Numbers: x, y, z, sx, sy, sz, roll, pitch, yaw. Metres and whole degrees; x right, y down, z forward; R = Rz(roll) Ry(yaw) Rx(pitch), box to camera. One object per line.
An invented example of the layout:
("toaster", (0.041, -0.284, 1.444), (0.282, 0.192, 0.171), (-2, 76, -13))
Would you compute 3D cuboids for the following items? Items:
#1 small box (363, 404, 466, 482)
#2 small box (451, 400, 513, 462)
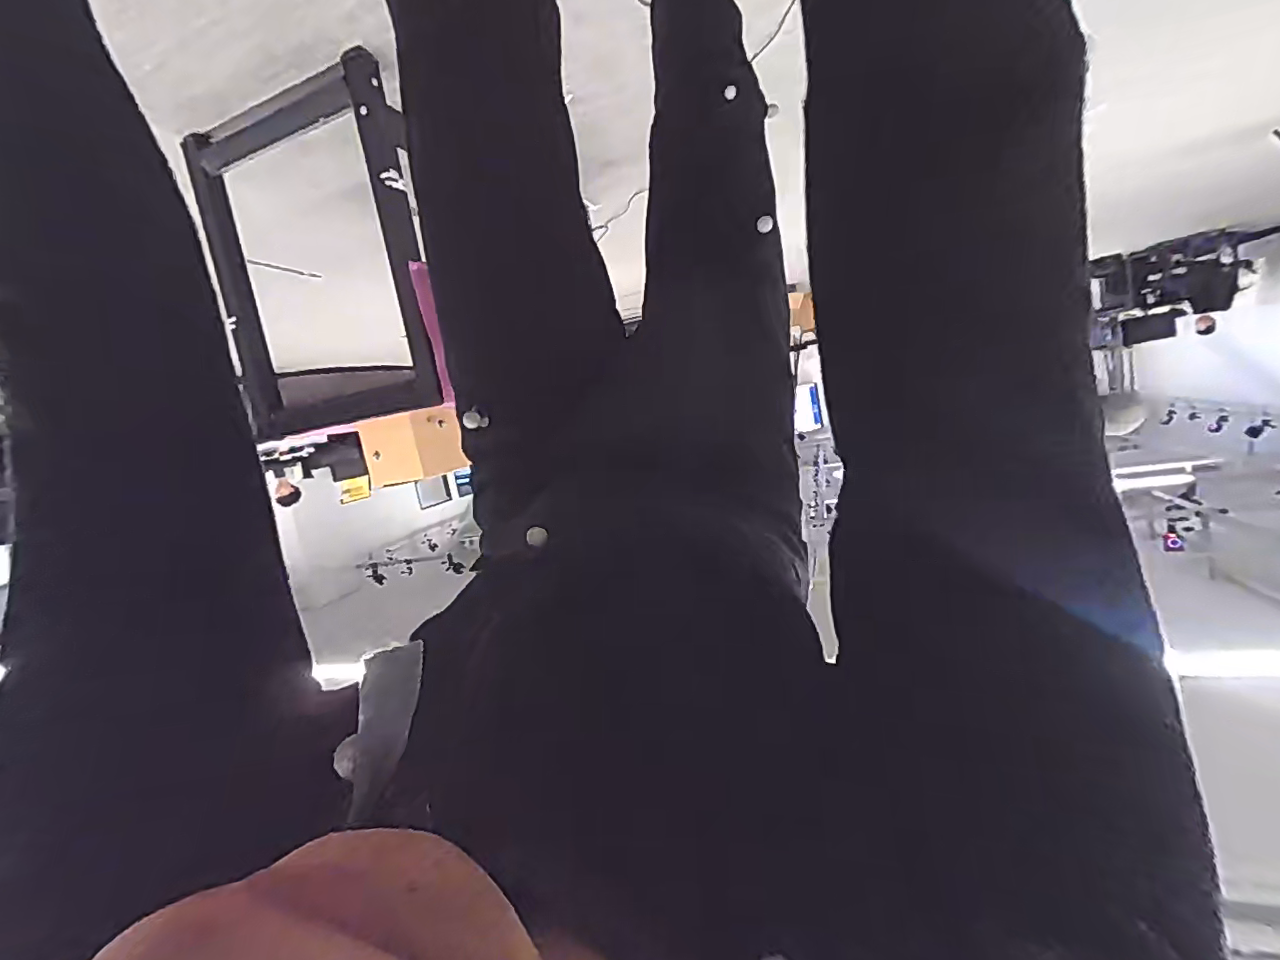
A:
("small box", (-0.582, -0.100, 1.393), (0.179, 0.176, 0.168), (-7, -170, 23))
("small box", (-0.521, -0.149, 1.654), (0.179, 0.176, 0.168), (-6, -171, 28))
